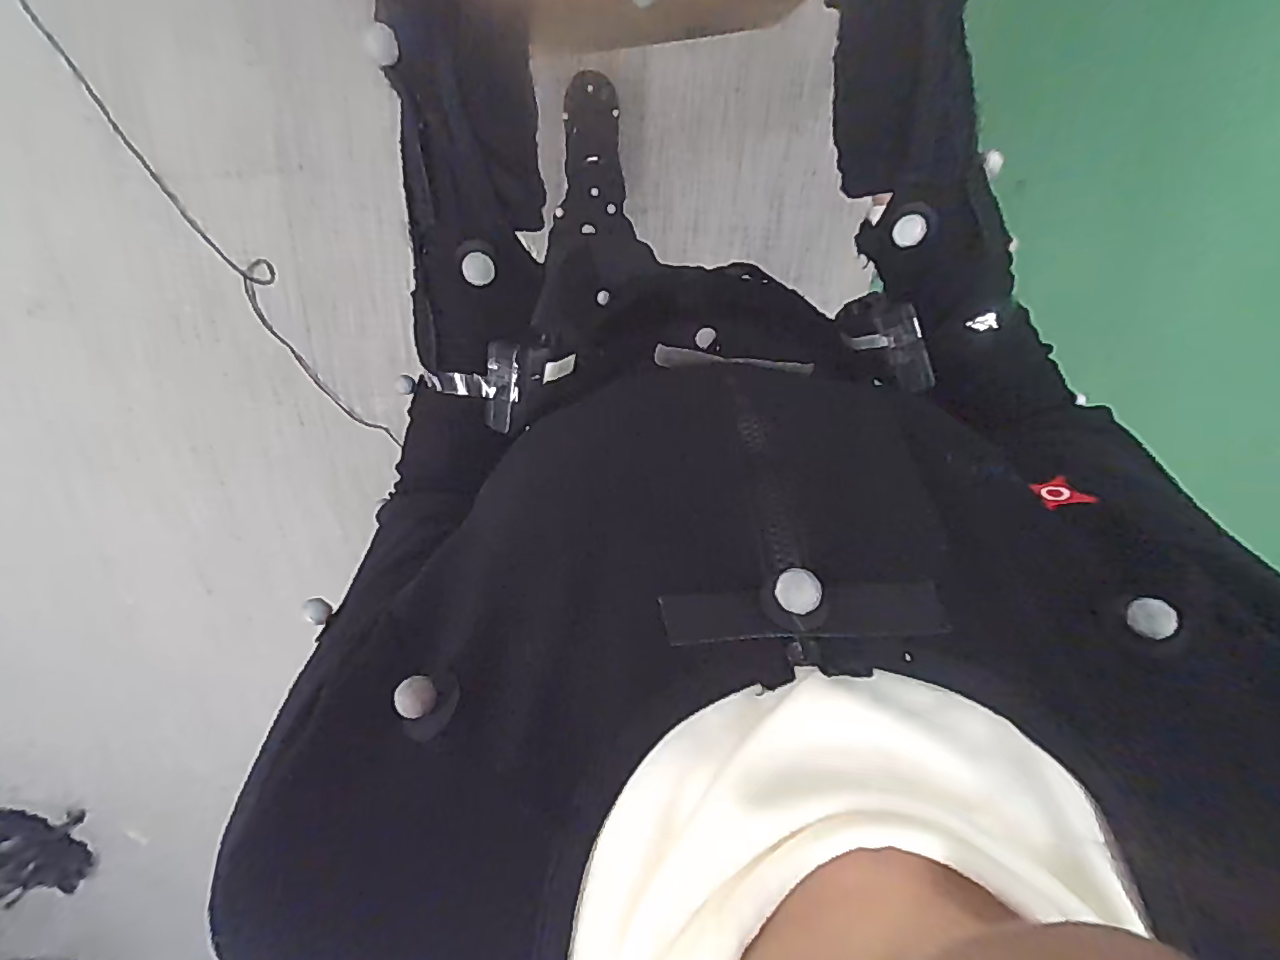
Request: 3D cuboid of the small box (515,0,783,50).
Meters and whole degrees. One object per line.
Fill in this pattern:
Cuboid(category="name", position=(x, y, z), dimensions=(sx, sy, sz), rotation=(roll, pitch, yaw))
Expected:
Cuboid(category="small box", position=(0.001, -0.330, 0.241), dimensions=(0.168, 0.176, 0.179), rotation=(-7, 117, 1))
